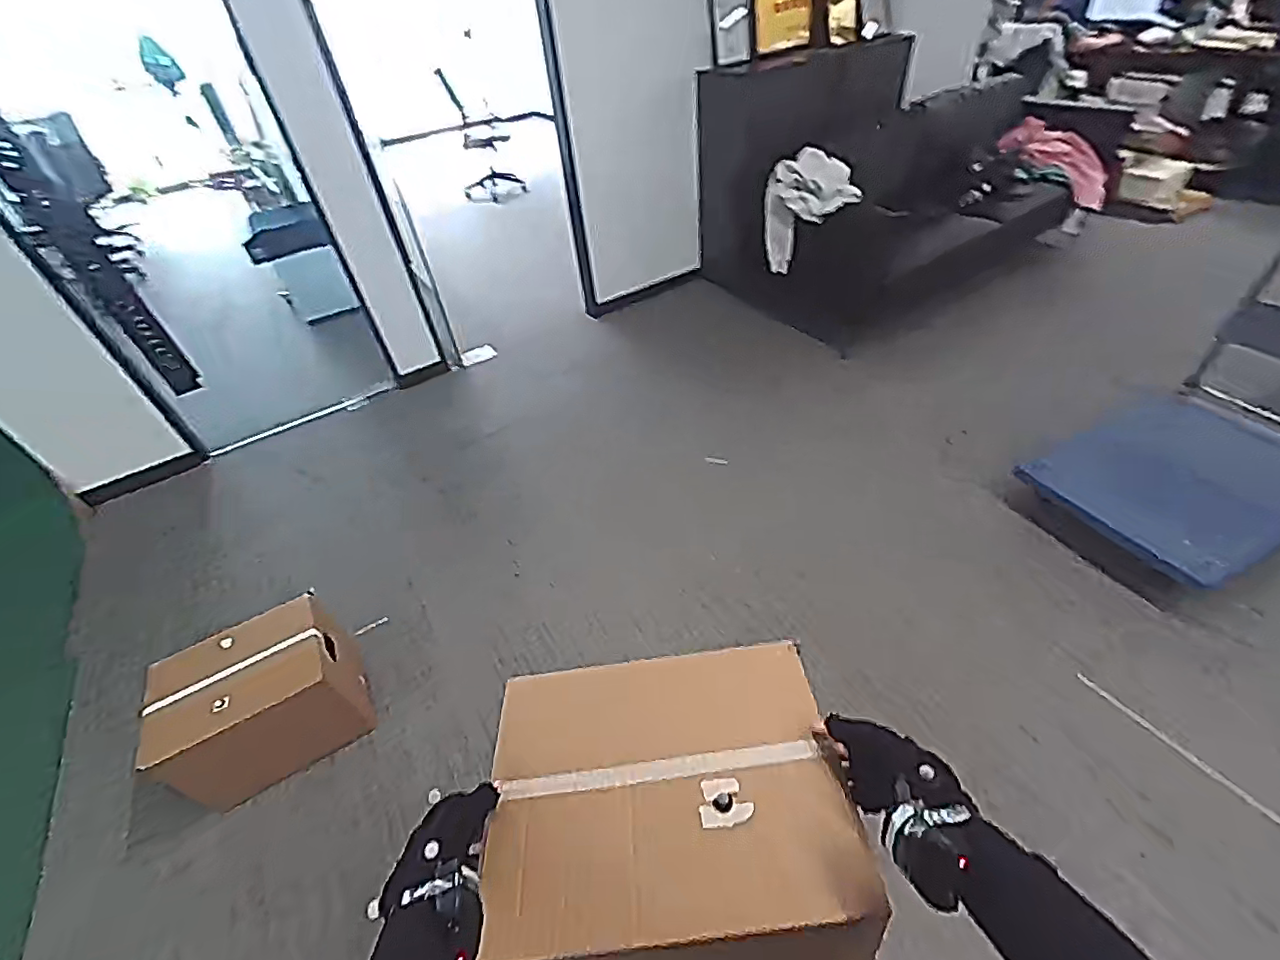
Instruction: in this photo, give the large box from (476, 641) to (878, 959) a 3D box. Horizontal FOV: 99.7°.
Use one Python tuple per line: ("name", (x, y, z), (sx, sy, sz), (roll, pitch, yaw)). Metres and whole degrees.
("large box", (0.037, 0.462, 0.724), (0.408, 0.320, 0.320), (-7, 35, 0))
